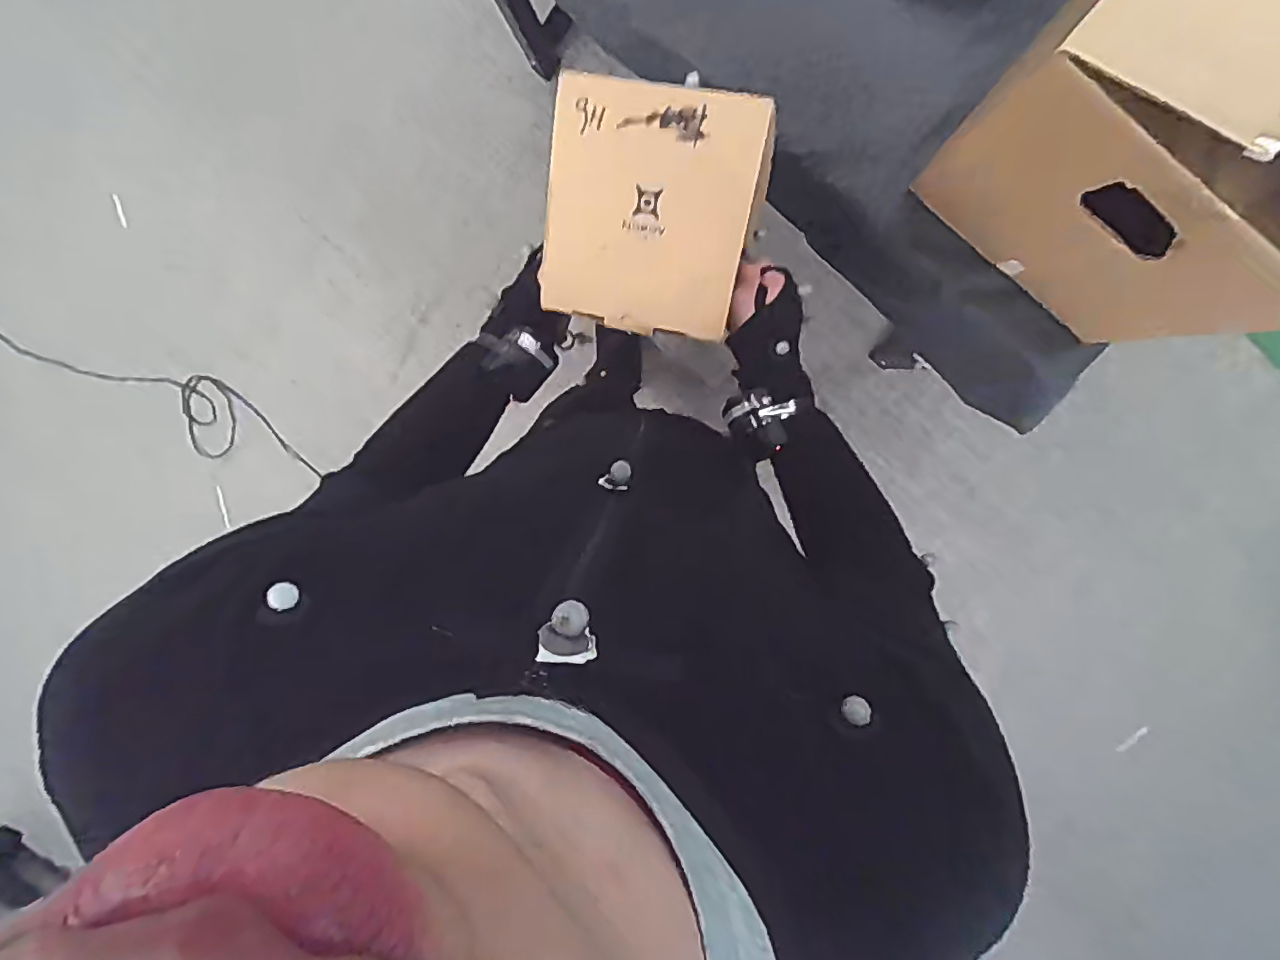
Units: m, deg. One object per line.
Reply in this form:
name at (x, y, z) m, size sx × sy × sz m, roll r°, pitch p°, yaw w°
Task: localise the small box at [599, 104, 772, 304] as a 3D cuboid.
small box at (0.060, -0.319, 0.647) m, size 0.168 × 0.176 × 0.179 m, roll 12°, pitch 113°, yaw 9°
